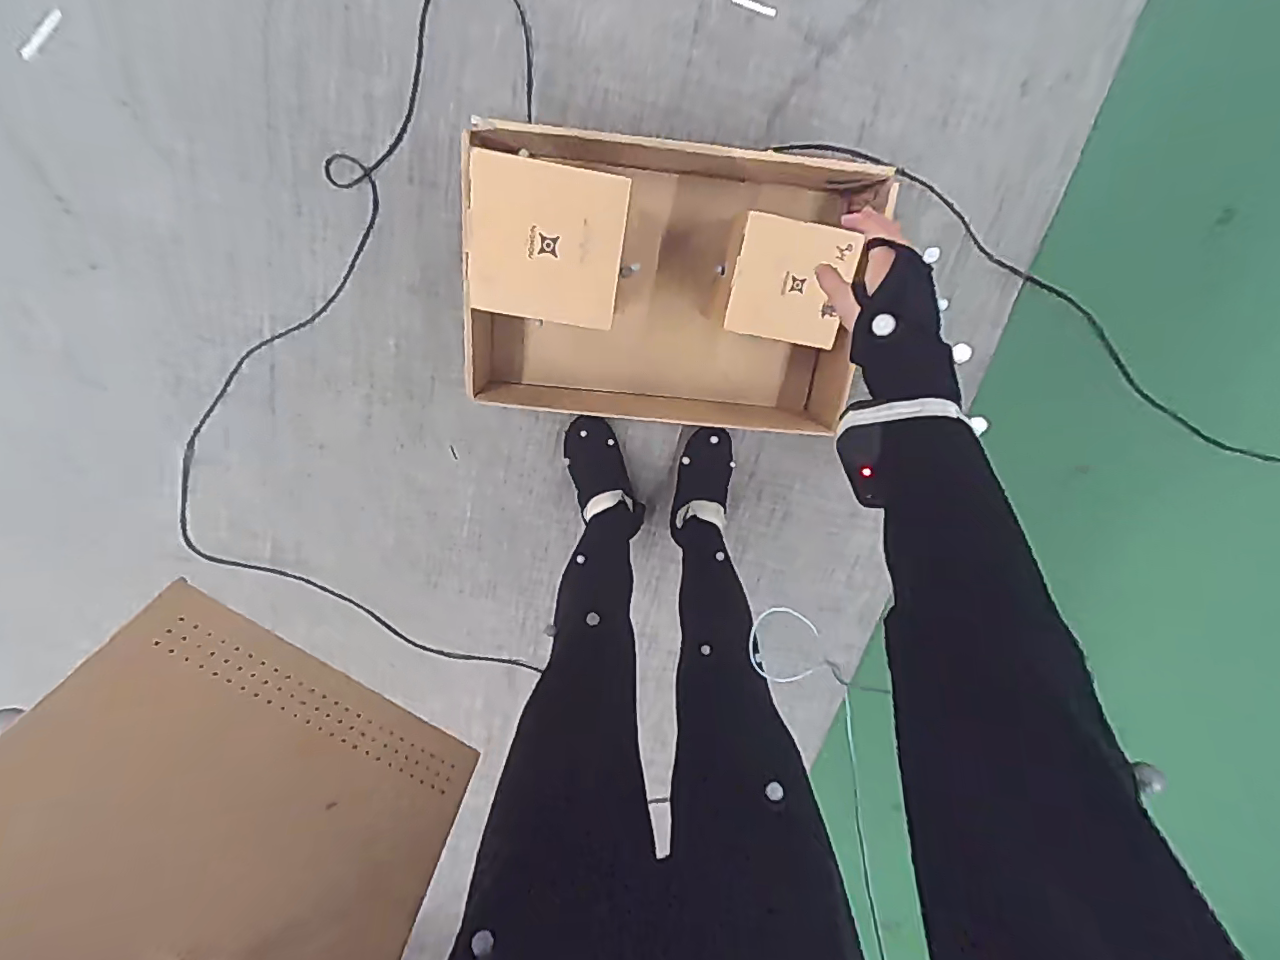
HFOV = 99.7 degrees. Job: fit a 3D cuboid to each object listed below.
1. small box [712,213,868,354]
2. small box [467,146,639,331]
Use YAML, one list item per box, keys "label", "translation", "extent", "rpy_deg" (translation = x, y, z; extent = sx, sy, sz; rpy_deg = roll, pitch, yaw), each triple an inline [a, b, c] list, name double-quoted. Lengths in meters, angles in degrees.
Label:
- label: "small box"
  translation: [0.222, -0.309, 0.861]
  extent: [0.179, 0.176, 0.168]
  rpy_deg: [11, 110, -5]
- label: "small box"
  translation: [-0.103, -0.294, 0.681]
  extent: [0.179, 0.176, 0.168]
  rpy_deg: [9, 112, -6]
